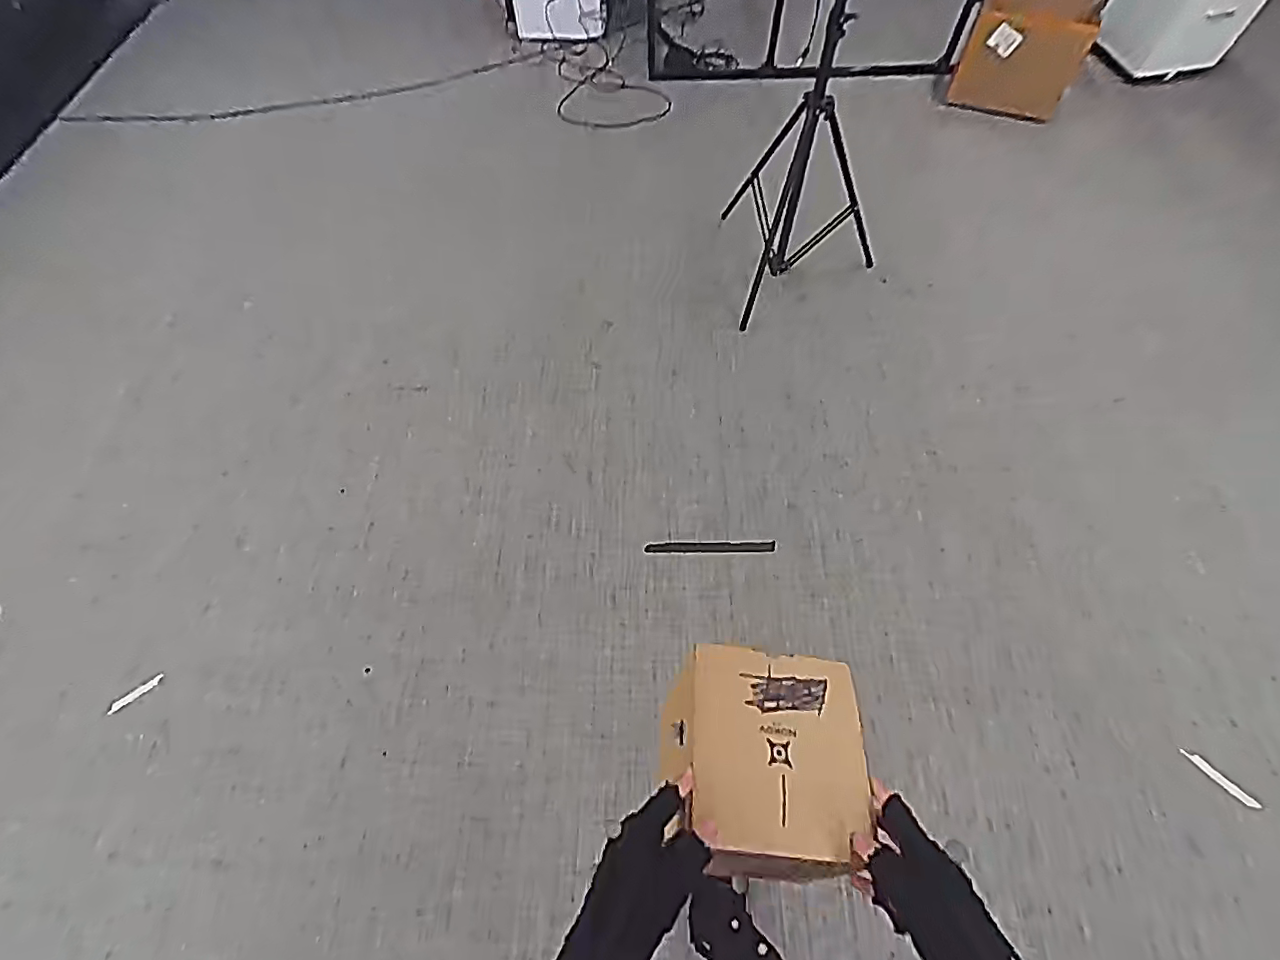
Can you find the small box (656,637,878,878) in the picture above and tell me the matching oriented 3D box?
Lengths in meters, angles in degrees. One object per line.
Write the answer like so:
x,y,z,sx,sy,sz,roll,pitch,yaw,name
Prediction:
0.113,0.289,0.560,0.168,0.176,0.179,9,49,-4,small box
